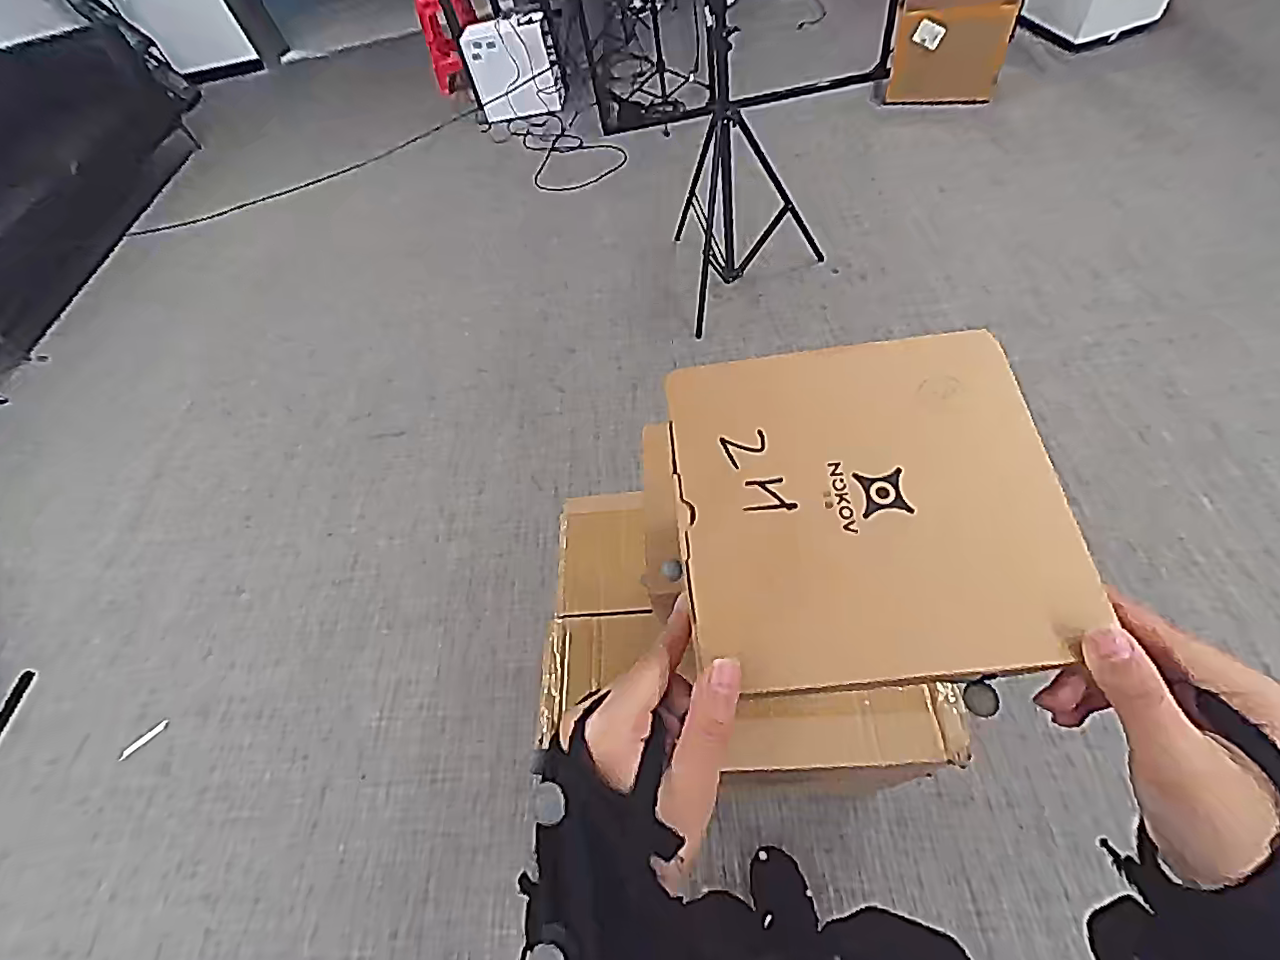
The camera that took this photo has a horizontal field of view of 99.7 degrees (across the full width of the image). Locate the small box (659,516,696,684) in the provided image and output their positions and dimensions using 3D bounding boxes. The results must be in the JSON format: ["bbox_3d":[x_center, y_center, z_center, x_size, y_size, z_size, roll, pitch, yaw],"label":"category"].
[{"bbox_3d":[0.122,0.149,0.671,0.179,0.176,0.168,-5,57,8],"label":"small box"}]

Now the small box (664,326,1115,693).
[{"bbox_3d":[0.112,0.034,0.329,0.179,0.176,0.168,-7,66,4],"label":"small box"}]
